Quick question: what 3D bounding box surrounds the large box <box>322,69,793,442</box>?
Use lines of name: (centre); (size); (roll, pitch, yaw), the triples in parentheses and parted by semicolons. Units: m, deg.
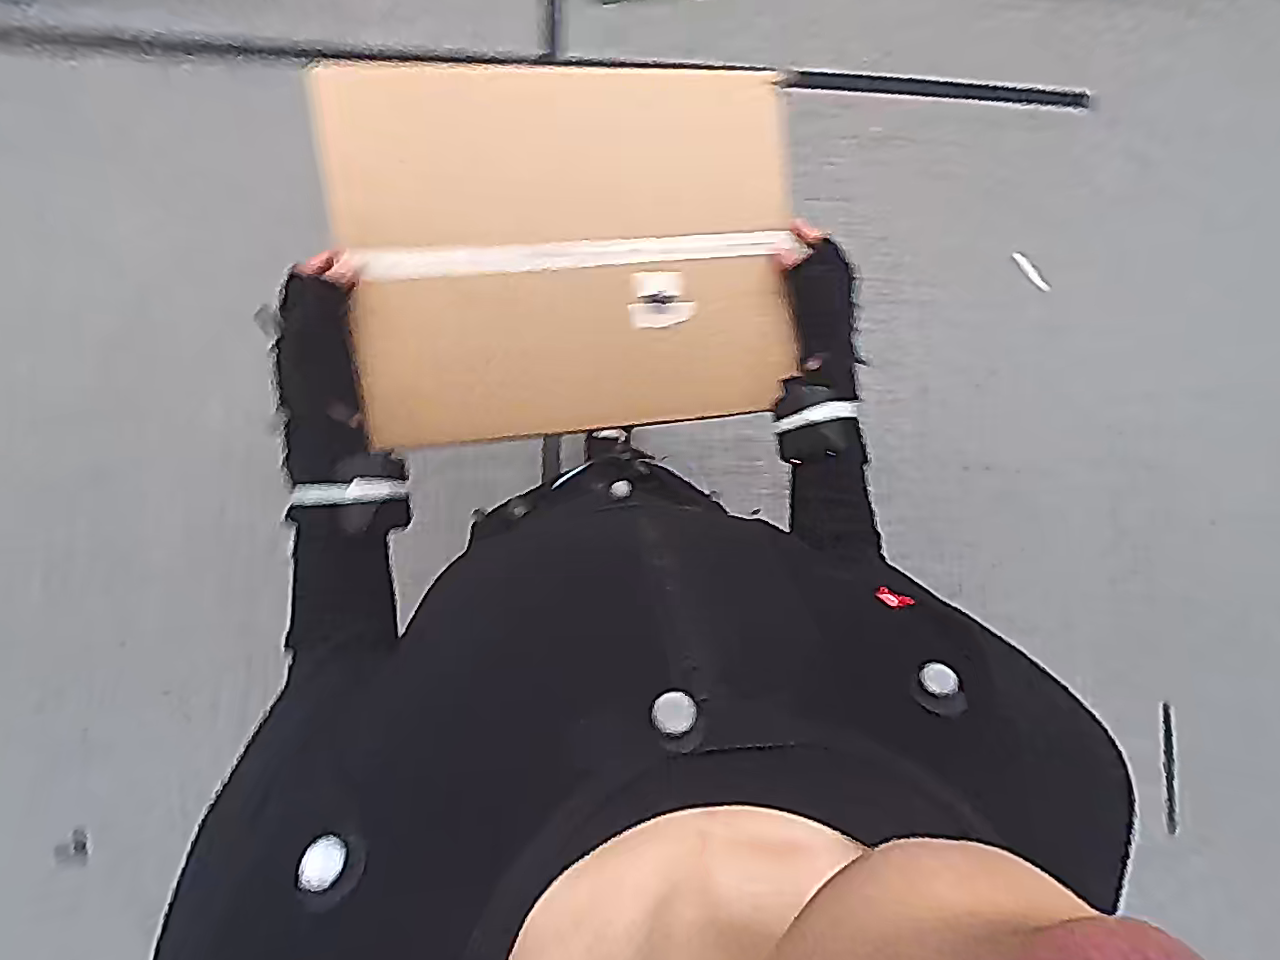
large box: (-0.086, -0.225, 0.642); (0.408, 0.320, 0.320); (-8, 97, -12)
